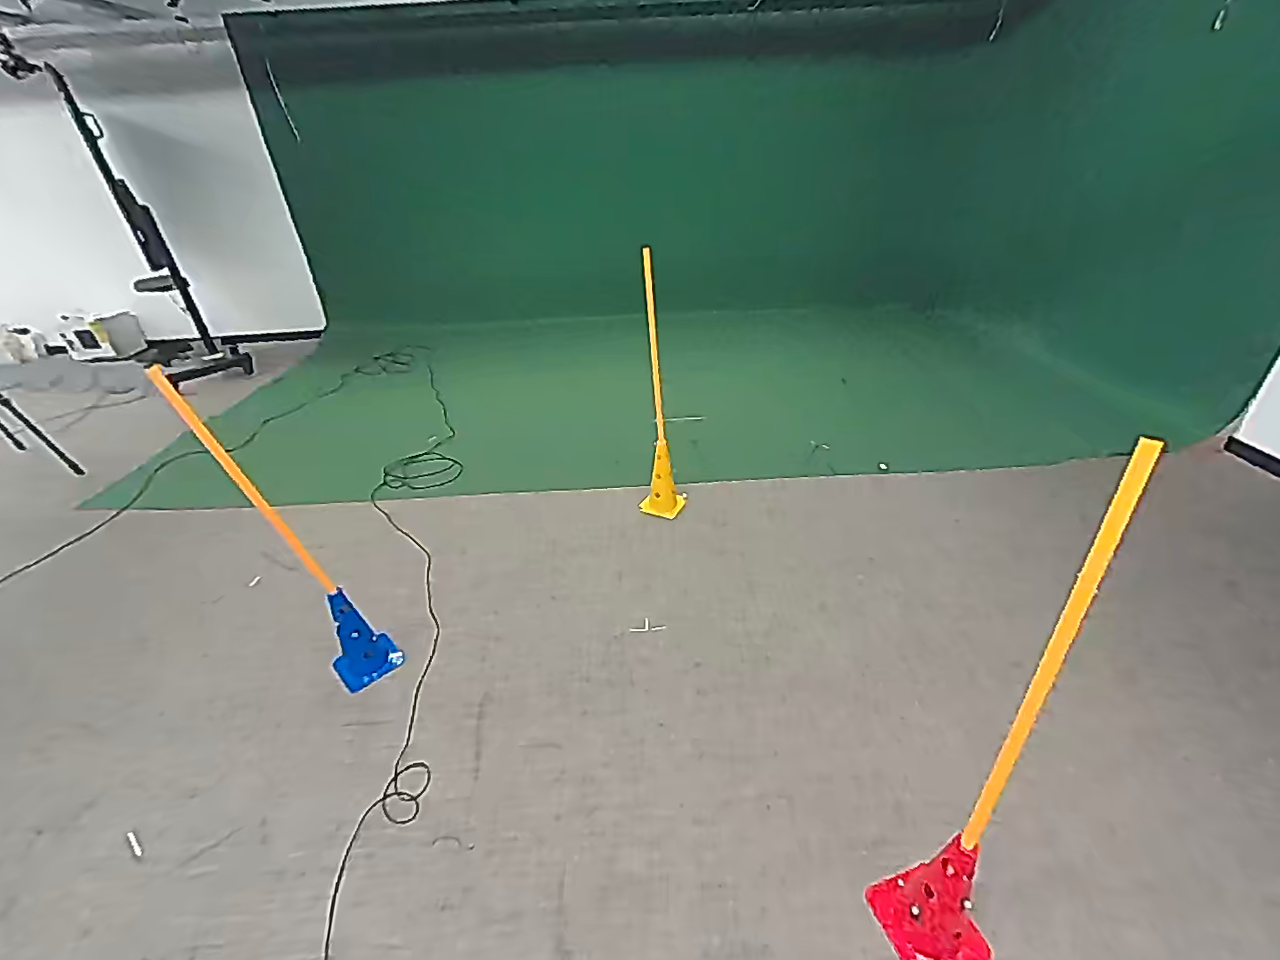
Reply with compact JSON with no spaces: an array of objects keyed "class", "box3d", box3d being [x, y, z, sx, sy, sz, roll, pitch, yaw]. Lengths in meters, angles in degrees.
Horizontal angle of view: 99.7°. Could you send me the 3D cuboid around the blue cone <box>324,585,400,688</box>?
[{"class":"blue cone","box3d":[-0.990,0.510,1.850,0.192,0.380,0.193,26,44,36]}]
